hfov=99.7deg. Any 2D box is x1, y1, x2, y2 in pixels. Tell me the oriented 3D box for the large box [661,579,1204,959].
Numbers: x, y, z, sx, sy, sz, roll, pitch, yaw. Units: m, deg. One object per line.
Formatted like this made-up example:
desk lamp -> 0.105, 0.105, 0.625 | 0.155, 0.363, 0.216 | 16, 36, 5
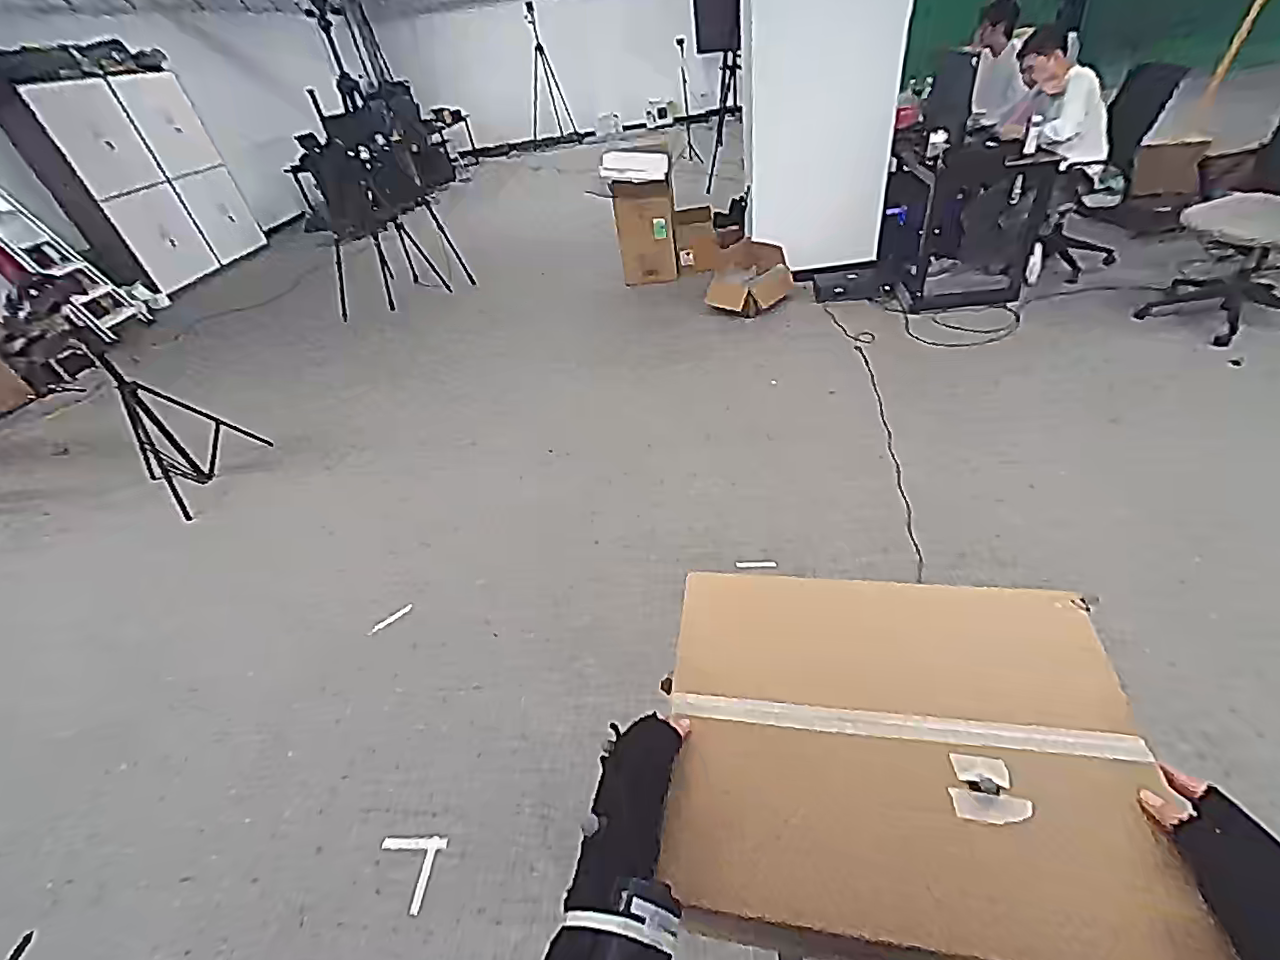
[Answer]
large box -> 0.250, 0.335, 0.627 | 0.408, 0.320, 0.320 | 1, 47, 12
